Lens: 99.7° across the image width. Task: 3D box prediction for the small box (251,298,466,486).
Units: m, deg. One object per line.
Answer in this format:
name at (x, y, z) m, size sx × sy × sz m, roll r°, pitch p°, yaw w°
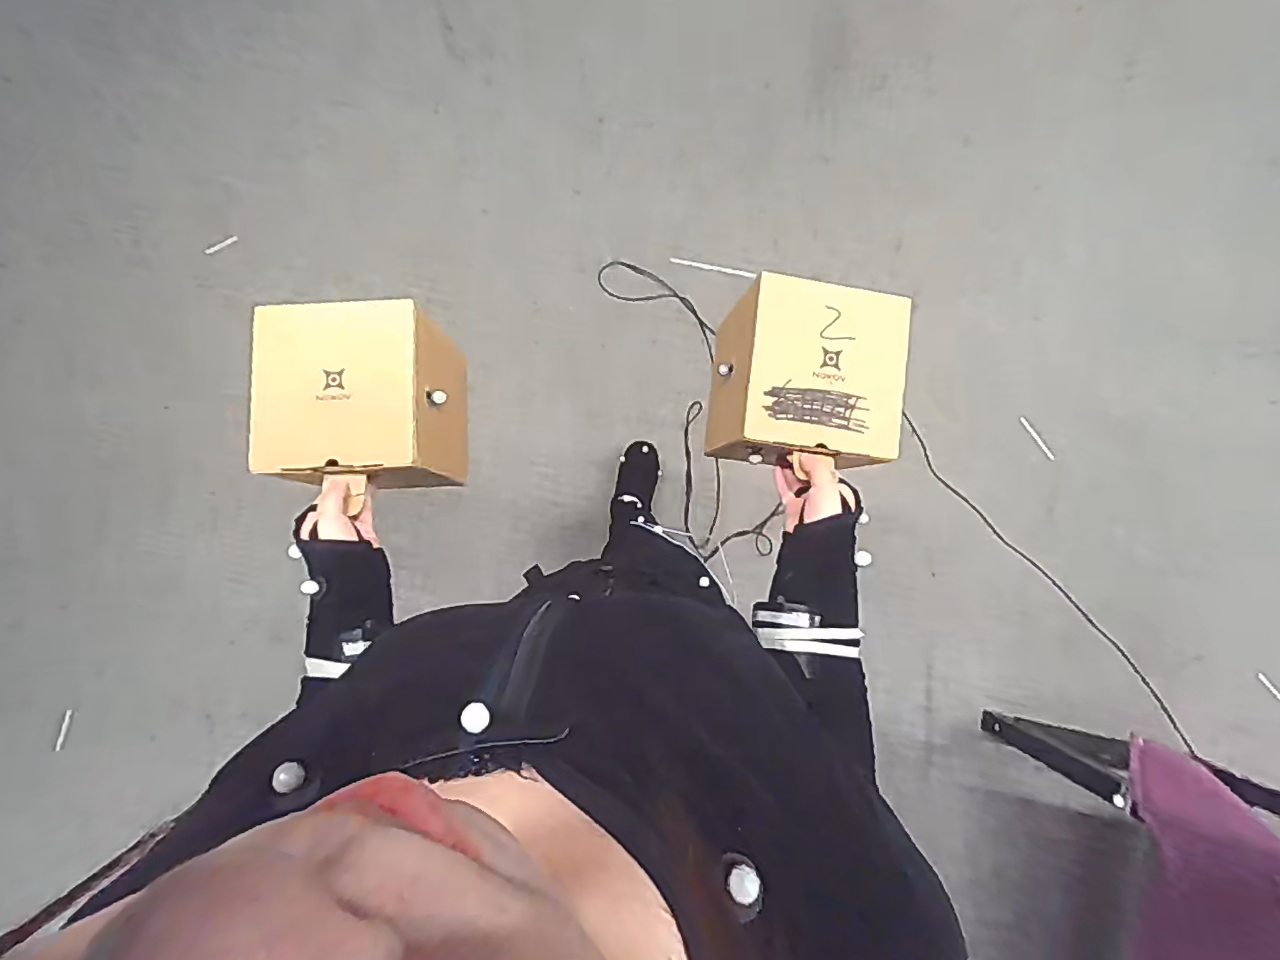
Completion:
small box at (-0.308, -0.091, 0.626) m, size 0.168 × 0.176 × 0.179 m, roll -2°, pitch 84°, yaw -1°
